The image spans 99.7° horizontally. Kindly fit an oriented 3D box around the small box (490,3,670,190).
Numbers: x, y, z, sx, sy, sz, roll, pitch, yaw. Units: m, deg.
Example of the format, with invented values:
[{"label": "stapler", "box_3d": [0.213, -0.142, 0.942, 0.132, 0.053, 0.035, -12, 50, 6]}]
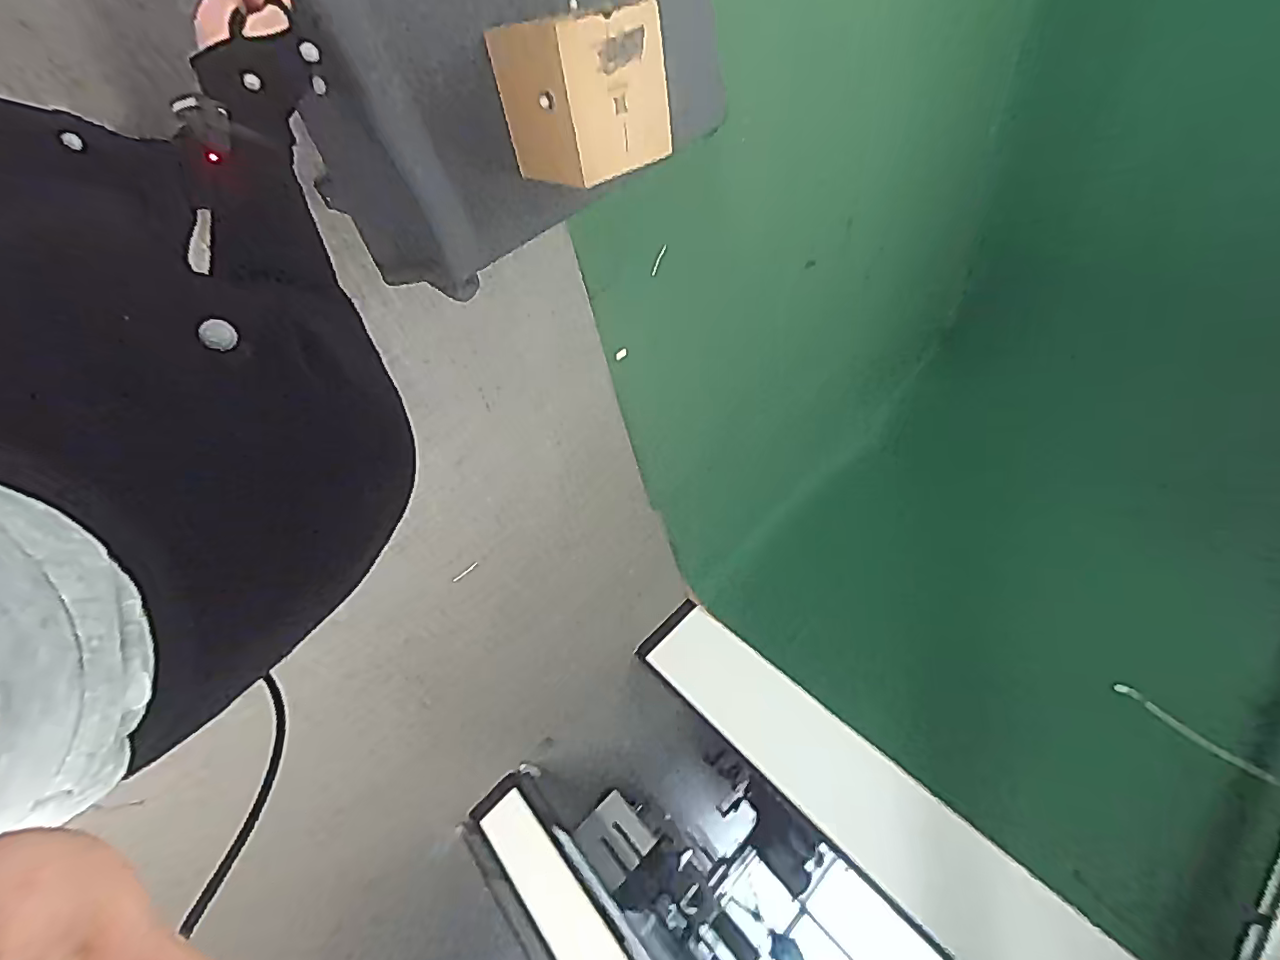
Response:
[{"label": "small box", "box_3d": [-0.081, -0.527, 0.751, 0.168, 0.176, 0.179, -36, 138, -24]}]
